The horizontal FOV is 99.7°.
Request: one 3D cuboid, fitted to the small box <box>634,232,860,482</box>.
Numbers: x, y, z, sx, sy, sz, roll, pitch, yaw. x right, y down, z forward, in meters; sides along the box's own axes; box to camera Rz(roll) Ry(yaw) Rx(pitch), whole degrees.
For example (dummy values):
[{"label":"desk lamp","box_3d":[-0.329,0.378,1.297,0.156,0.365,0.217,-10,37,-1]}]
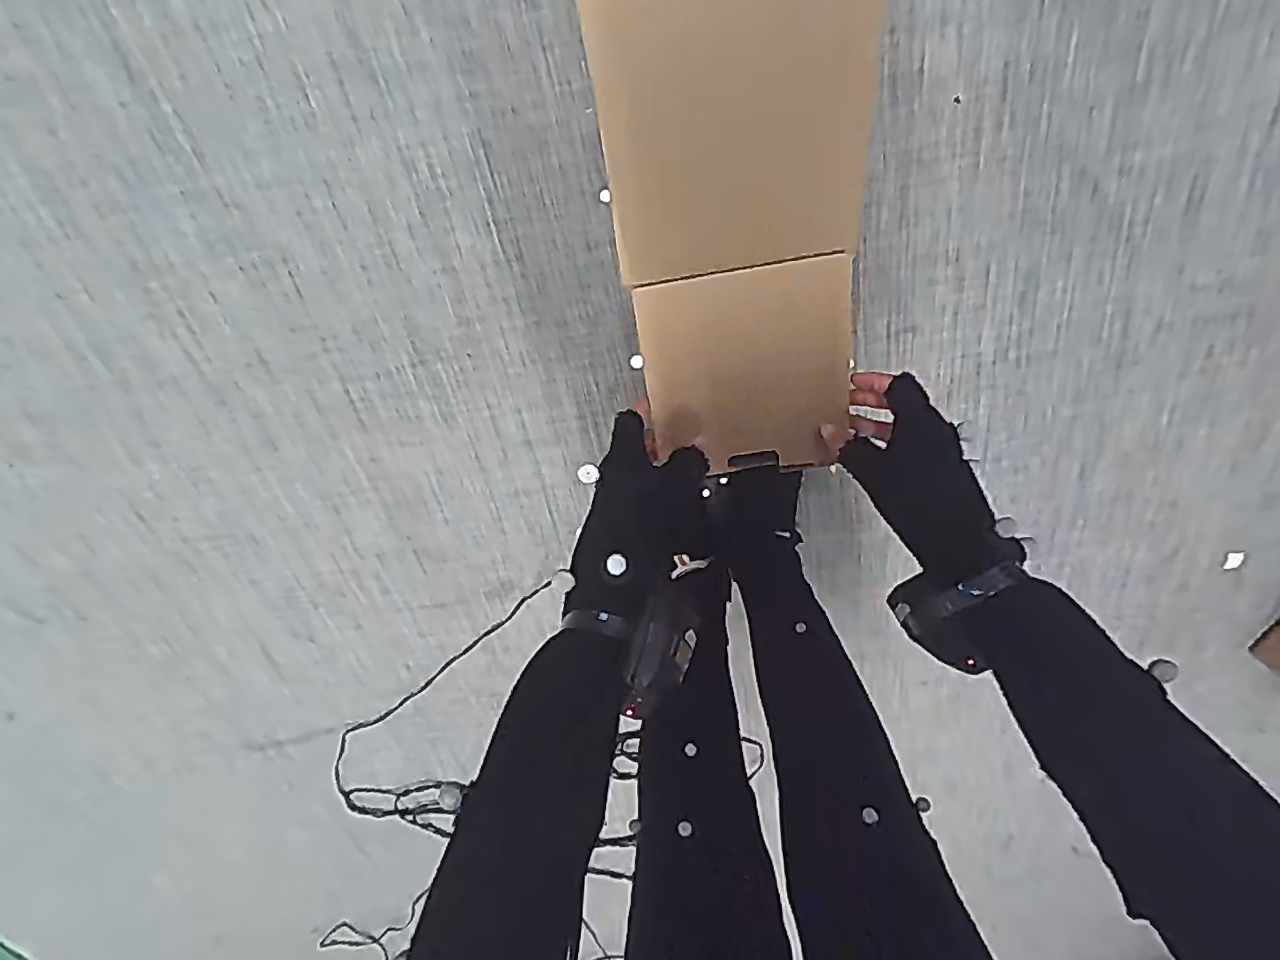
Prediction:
[{"label":"small box","box_3d":[0.091,-0.119,0.500,0.168,0.176,0.179,-7,117,6]}]
